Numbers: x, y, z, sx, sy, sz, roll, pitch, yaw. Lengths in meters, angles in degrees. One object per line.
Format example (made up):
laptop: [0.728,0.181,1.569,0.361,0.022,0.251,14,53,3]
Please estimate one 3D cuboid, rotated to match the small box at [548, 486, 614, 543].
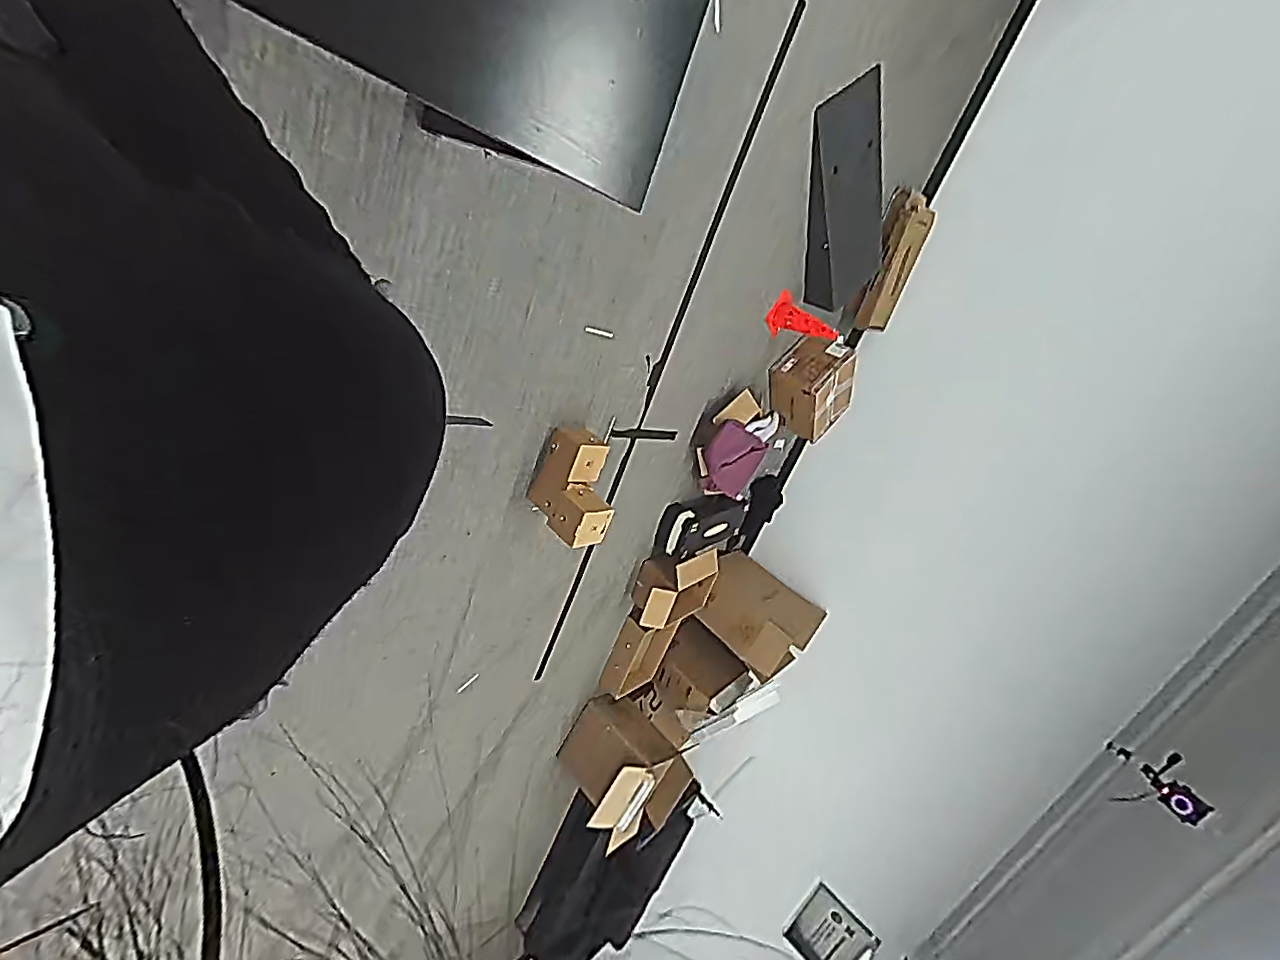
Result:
small box: [-0.243,0.135,2.180,0.179,0.176,0.168,-3,122,-50]
